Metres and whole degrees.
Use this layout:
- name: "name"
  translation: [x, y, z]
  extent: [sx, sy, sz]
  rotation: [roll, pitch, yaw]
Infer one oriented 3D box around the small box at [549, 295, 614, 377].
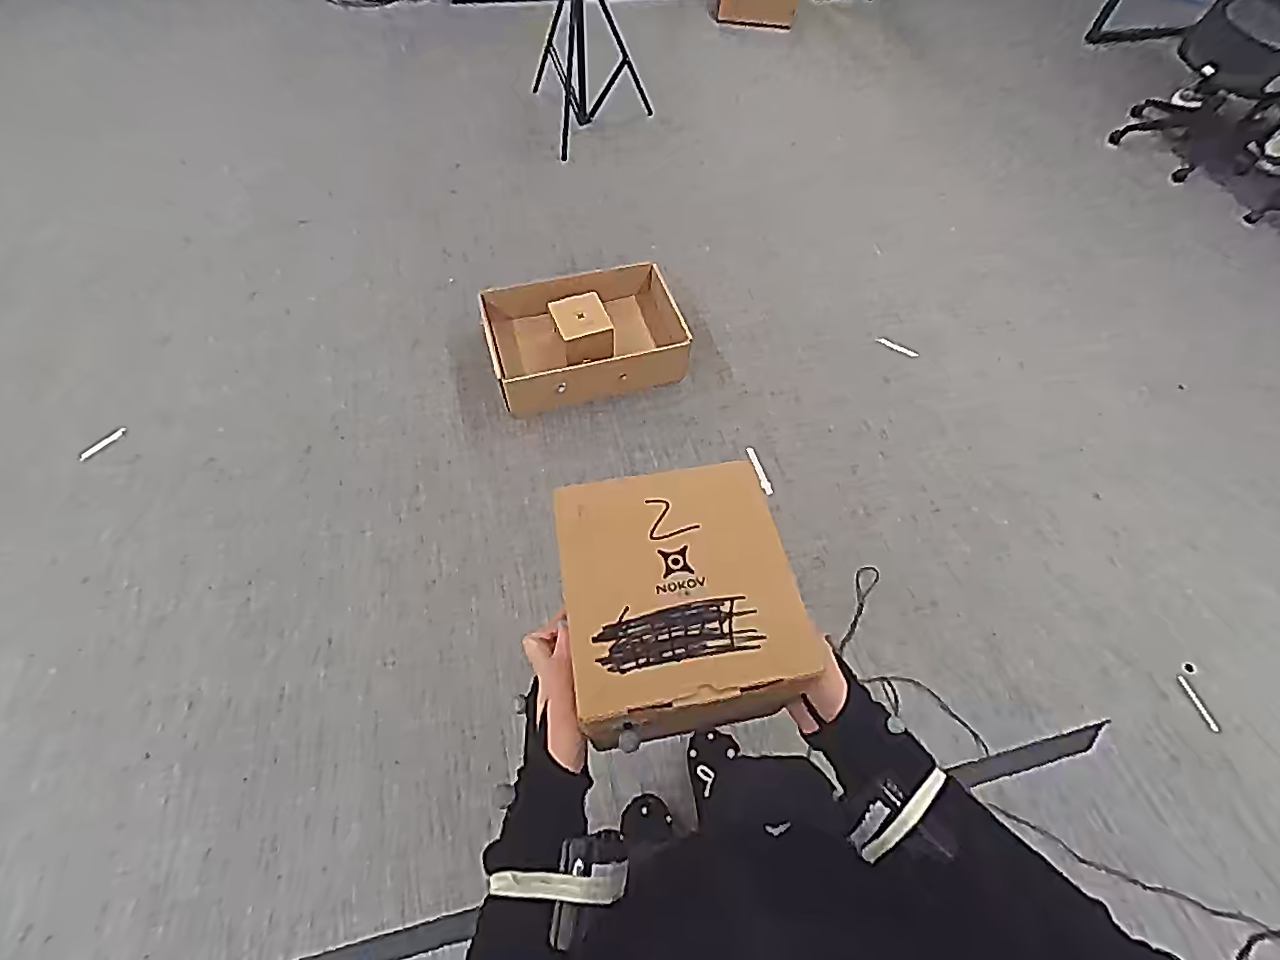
- name: "small box"
  translation: [-0.192, -0.469, 1.773]
  extent: [0.168, 0.176, 0.179]
  rotation: [-19, 64, -13]
